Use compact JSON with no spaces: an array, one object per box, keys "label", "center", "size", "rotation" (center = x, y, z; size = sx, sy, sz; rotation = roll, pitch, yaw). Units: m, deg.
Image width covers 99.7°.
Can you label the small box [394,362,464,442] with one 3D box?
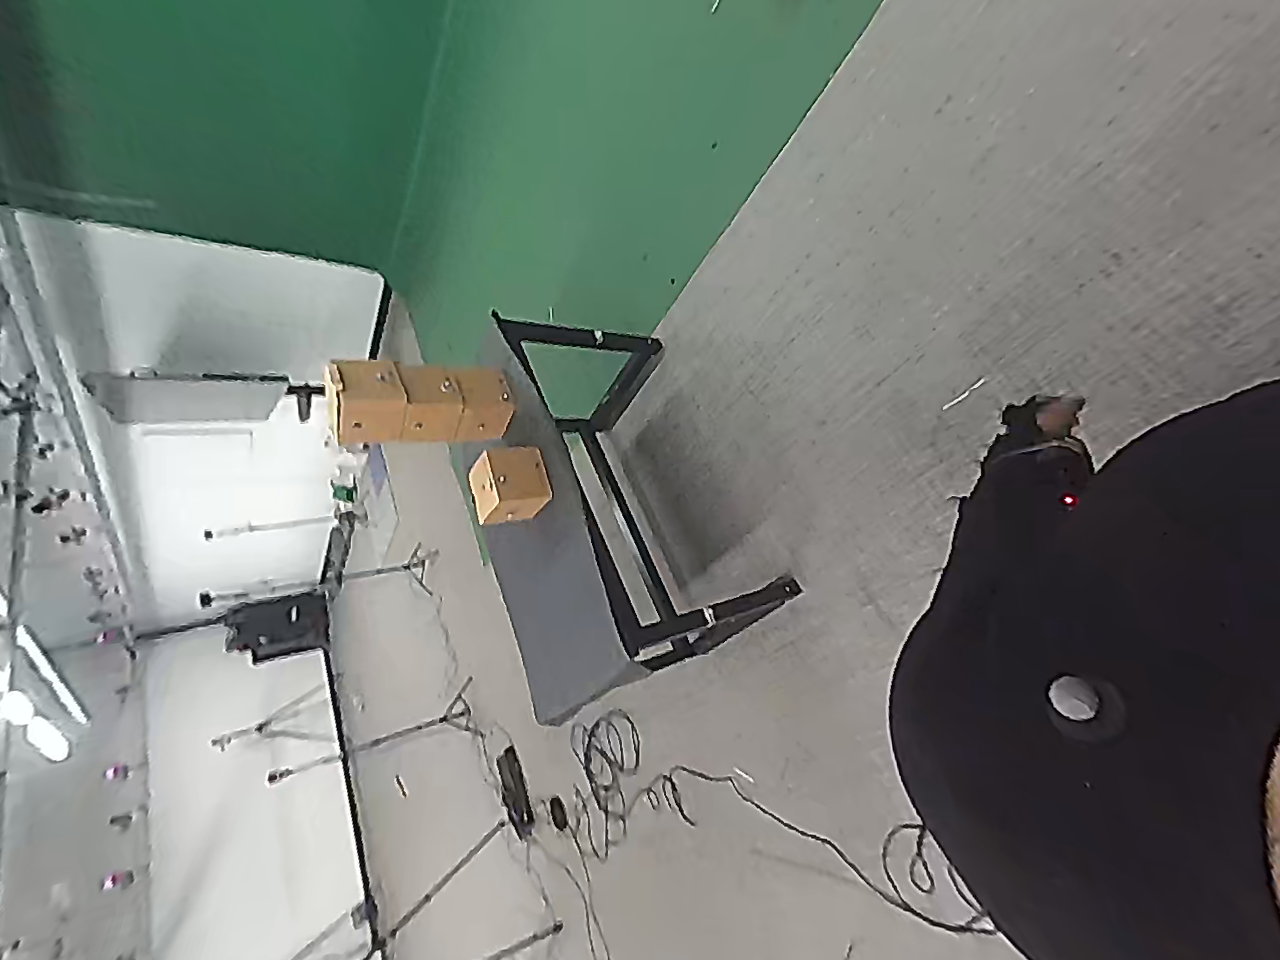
[{"label":"small box","center":[-0.646,-0.231,1.623],"size":[0.168,0.176,0.179],"rotation":[60,136,25]}]

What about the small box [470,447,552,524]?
[{"label":"small box","center":[-0.378,0.015,1.584],"size":[0.179,0.176,0.168],"rotation":[-40,64,48]}]

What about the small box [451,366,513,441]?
[{"label":"small box","center":[-0.521,-0.245,1.726],"size":[0.179,0.176,0.168],"rotation":[-50,57,44]}]

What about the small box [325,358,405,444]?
[{"label":"small box","center":[-0.772,-0.221,1.516],"size":[0.168,0.176,0.179],"rotation":[57,136,27]}]
